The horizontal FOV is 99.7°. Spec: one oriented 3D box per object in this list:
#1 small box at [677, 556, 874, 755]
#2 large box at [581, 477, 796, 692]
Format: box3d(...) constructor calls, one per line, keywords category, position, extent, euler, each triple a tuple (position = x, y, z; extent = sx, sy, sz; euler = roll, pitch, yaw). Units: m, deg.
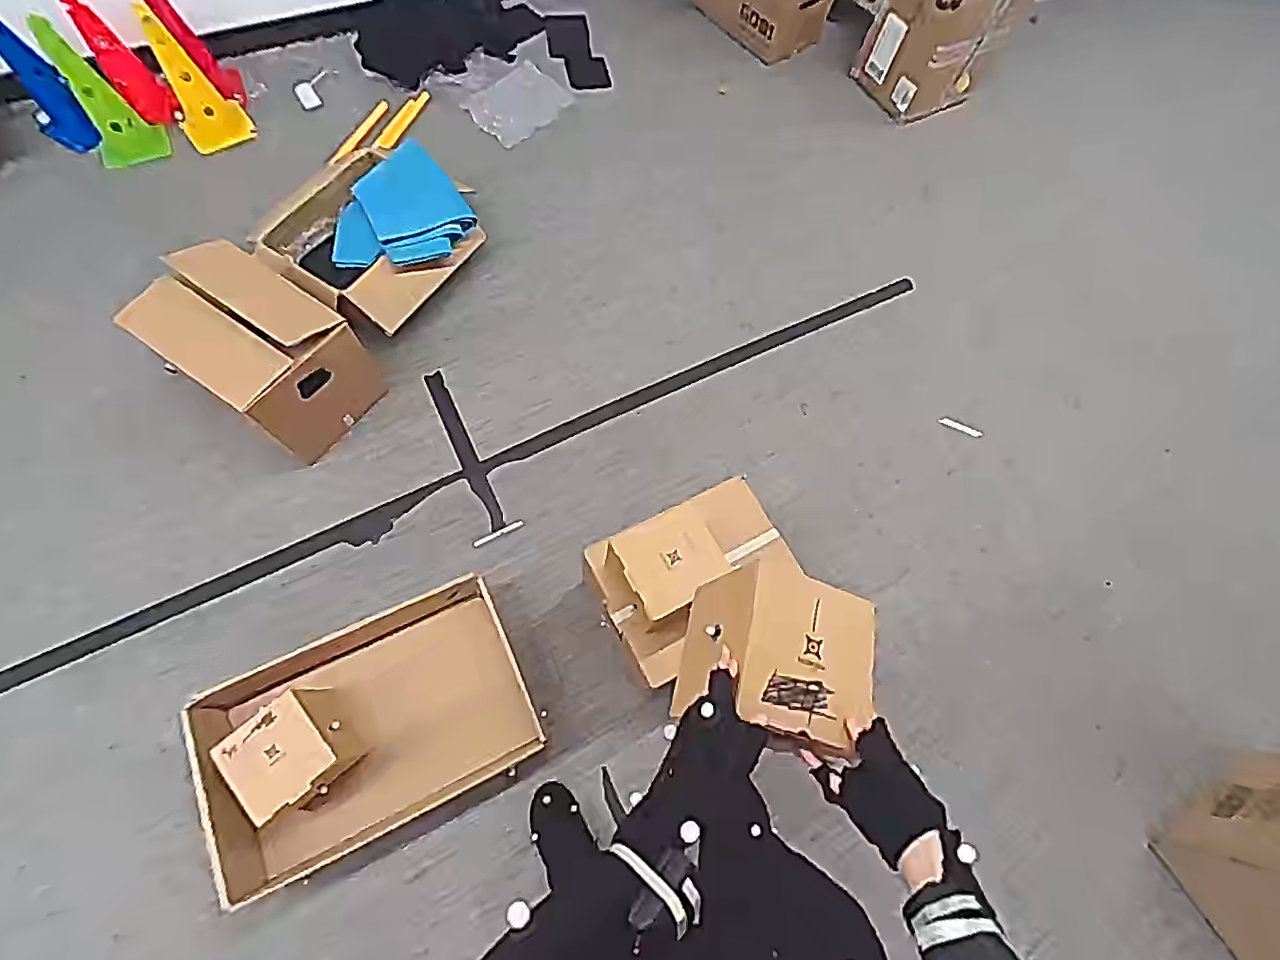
box3d(category="small box", position=(0.160, 0.220, 0.667), extent=(0.168, 0.176, 0.179), euler=(23, 60, -12))
box3d(category="large box", position=(0.105, 0.257, 1.282), extent=(0.408, 0.320, 0.320), euler=(-25, 74, -16))
